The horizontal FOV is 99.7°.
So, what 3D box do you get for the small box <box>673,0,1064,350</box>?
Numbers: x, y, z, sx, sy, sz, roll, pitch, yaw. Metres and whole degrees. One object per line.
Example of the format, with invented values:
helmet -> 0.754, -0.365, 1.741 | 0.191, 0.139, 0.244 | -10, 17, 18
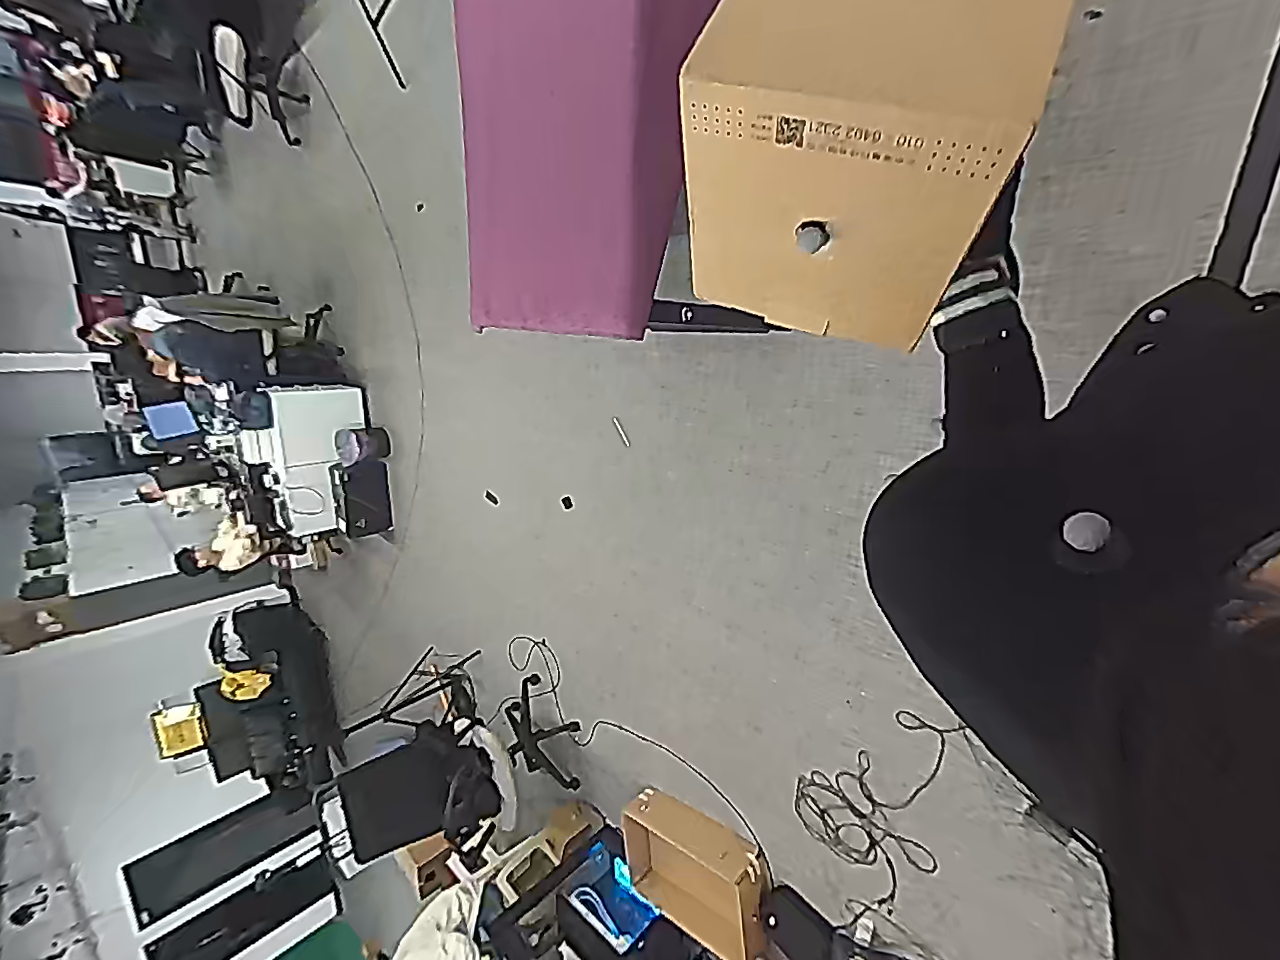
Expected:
small box -> 0.130, -0.217, 0.337 | 0.168, 0.176, 0.179 | 22, 72, 17
